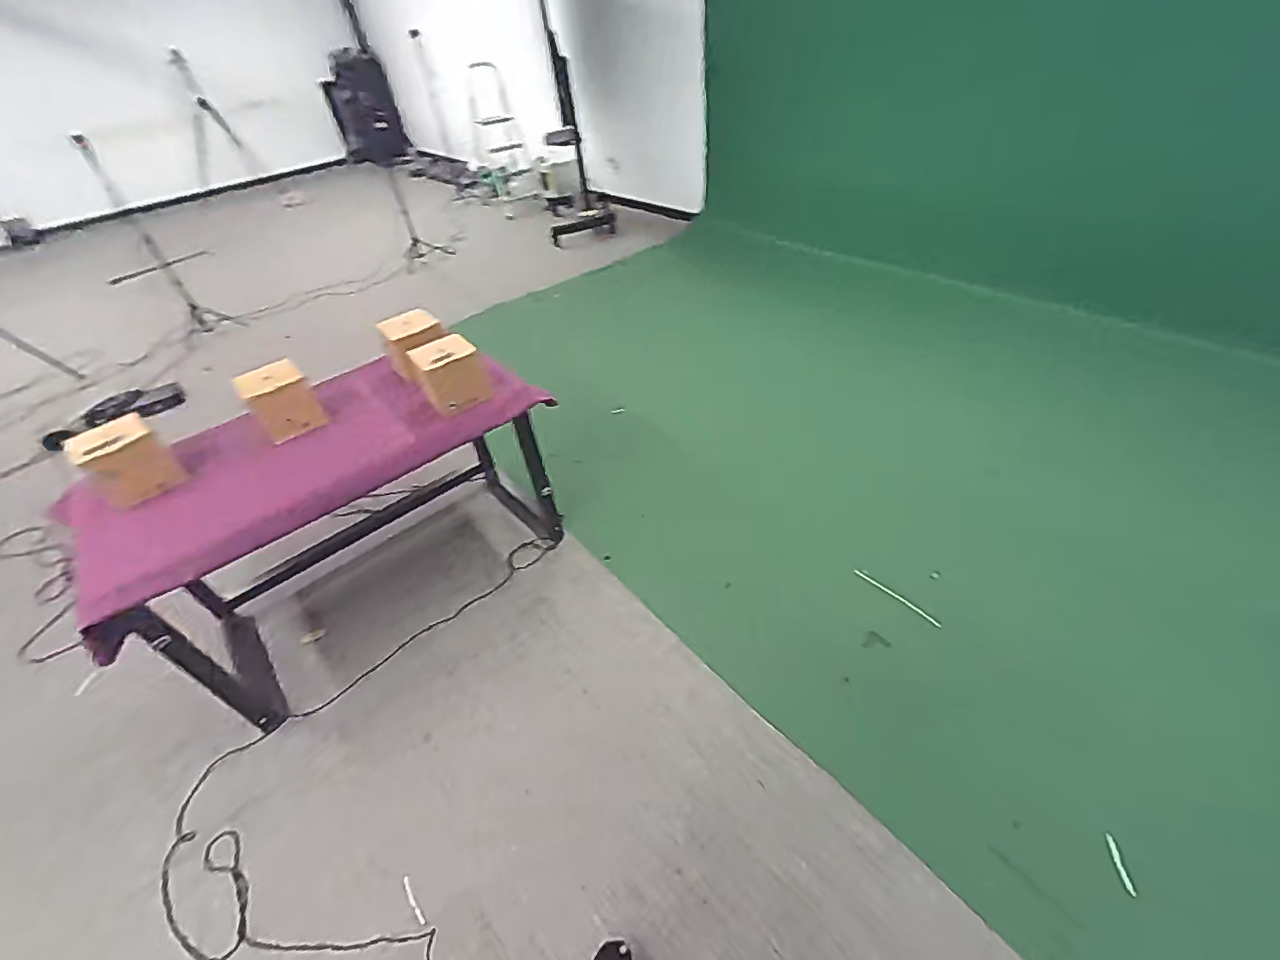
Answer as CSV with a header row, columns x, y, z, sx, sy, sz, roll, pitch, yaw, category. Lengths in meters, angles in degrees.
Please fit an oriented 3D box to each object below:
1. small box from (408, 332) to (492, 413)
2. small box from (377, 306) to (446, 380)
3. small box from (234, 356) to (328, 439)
x,y,z,sx,sy,sz,roll,pitch,yaw,category
-0.581,-0.328,1.668,0.168,0.176,0.179,-30,45,-22,small box
-0.763,-0.467,1.848,0.168,0.176,0.179,-33,49,-24,small box
-1.099,-0.252,1.660,0.168,0.176,0.179,-33,49,-26,small box
